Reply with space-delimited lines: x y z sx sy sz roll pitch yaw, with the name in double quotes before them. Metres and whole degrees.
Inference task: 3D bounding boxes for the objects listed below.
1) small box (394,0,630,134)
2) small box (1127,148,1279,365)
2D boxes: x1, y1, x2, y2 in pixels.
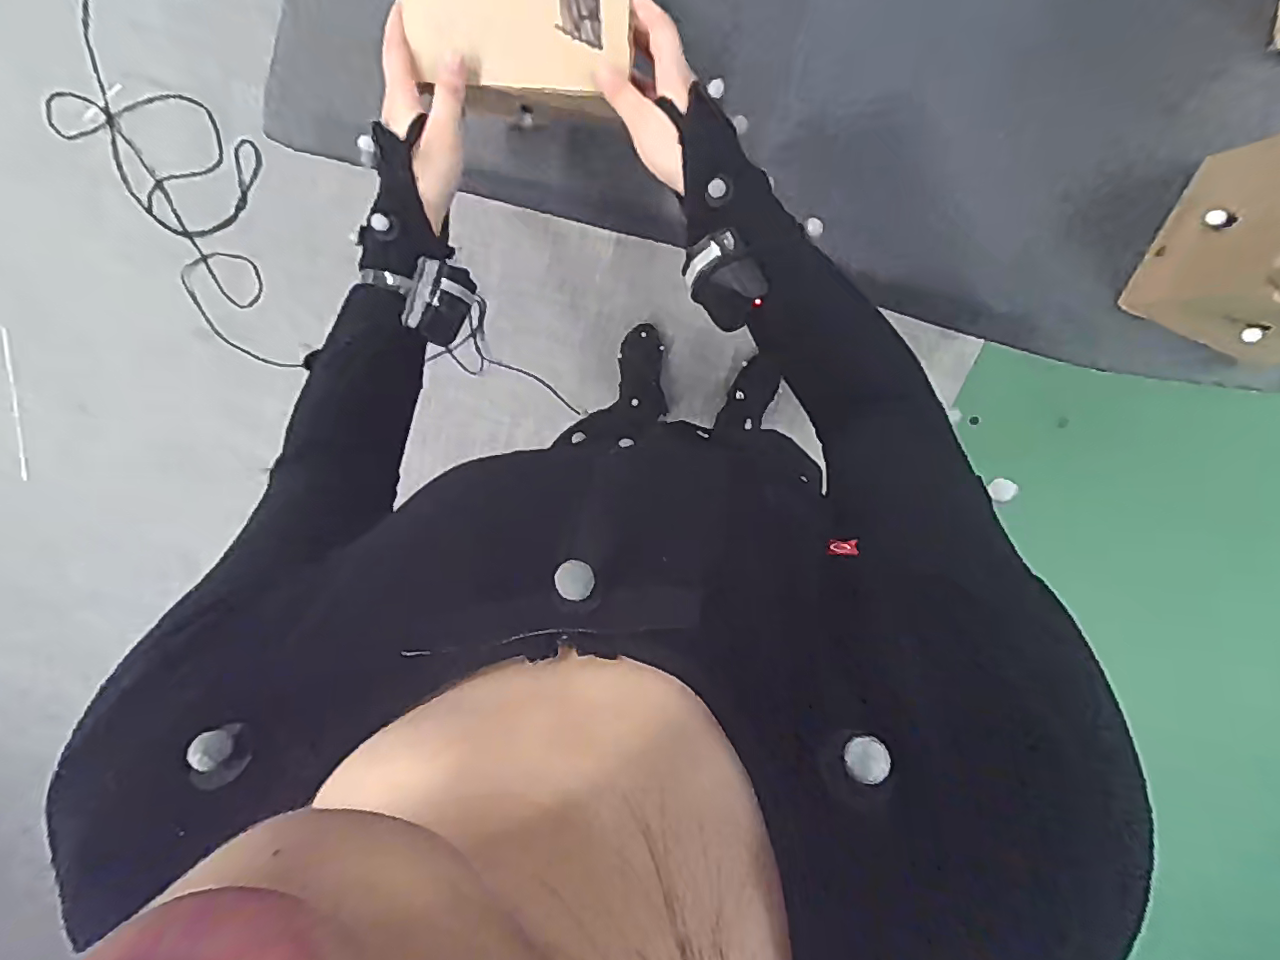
"small box" -0.097 -0.412 0.469 0.179 0.176 0.168 3 115 0
"small box" 0.653 -0.214 0.529 0.179 0.176 0.168 22 106 -2
